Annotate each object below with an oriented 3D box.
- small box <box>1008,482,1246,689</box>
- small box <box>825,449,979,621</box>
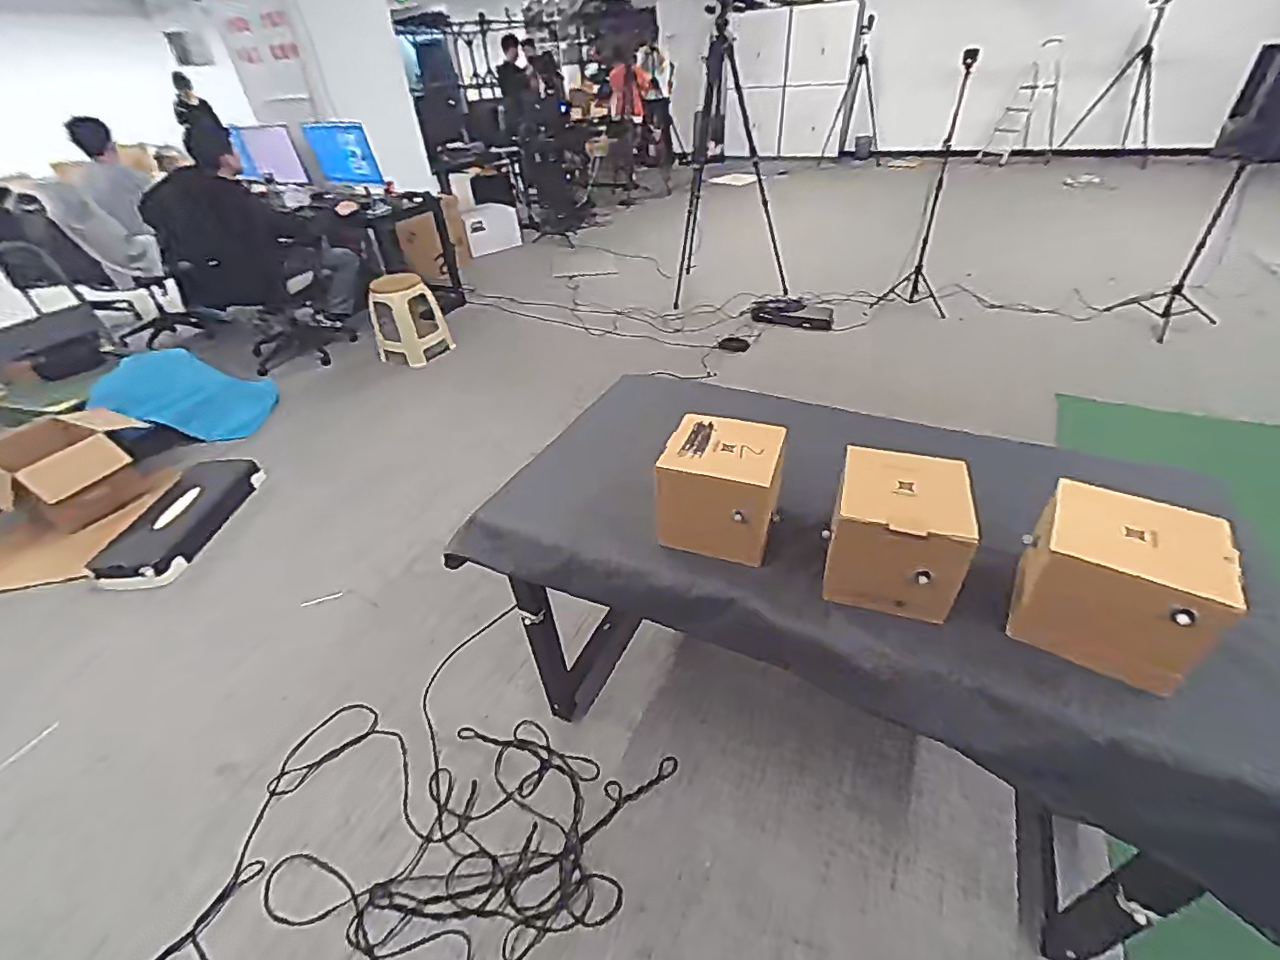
[{"bbox_3d":[0.609,0.134,0.700,0.179,0.176,0.168,21,44,28],"label":"small box"},{"bbox_3d":[0.373,0.079,0.796,0.168,0.176,0.179,10,39,17],"label":"small box"}]
